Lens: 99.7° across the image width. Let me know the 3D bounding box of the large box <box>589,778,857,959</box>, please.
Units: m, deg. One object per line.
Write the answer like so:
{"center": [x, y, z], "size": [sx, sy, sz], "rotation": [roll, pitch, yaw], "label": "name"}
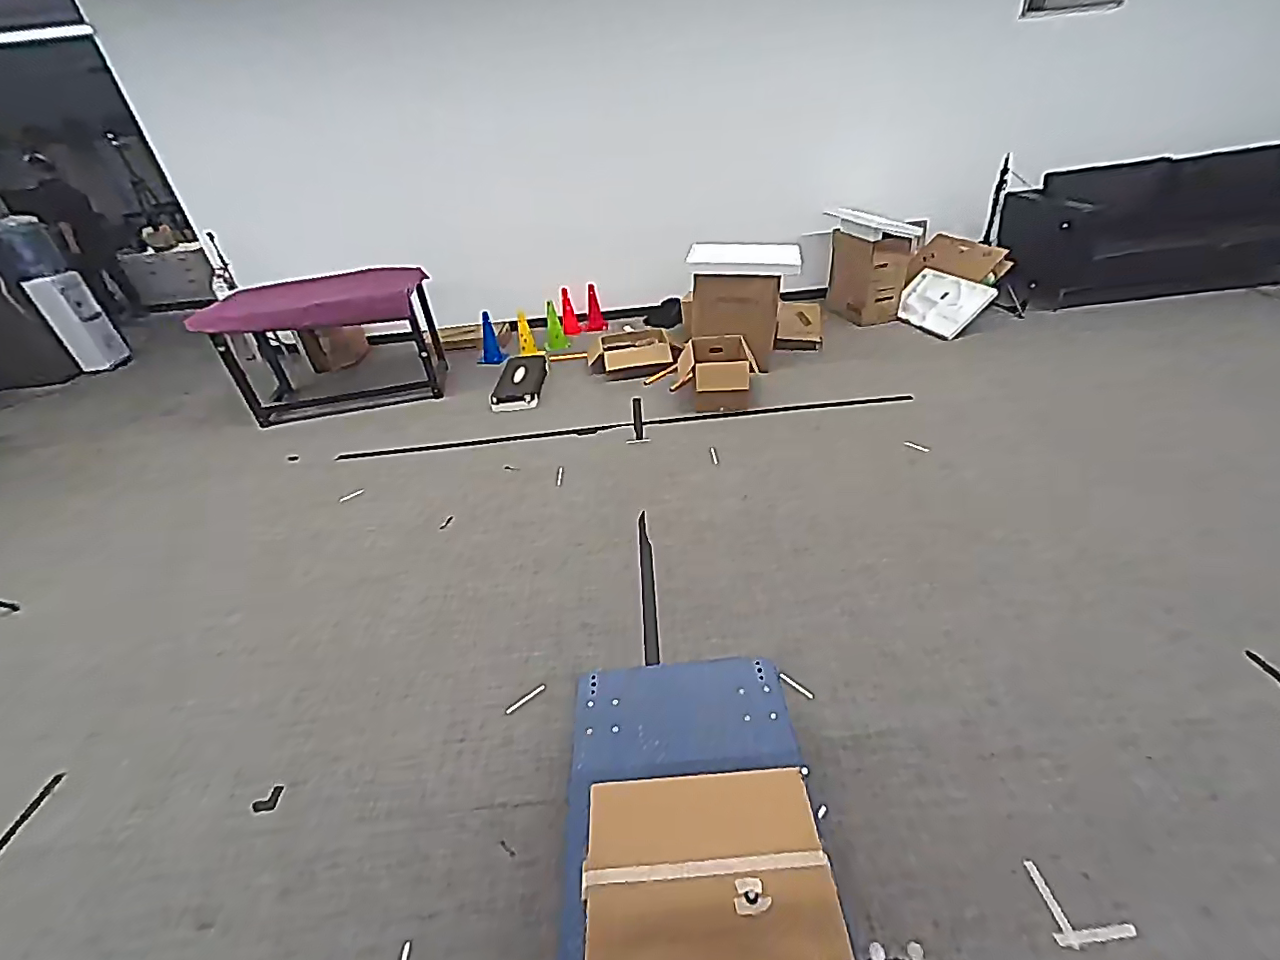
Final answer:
{"center": [0.124, 0.784, 0.967], "size": [0.408, 0.320, 0.320], "rotation": [-5, 35, 0], "label": "large box"}
